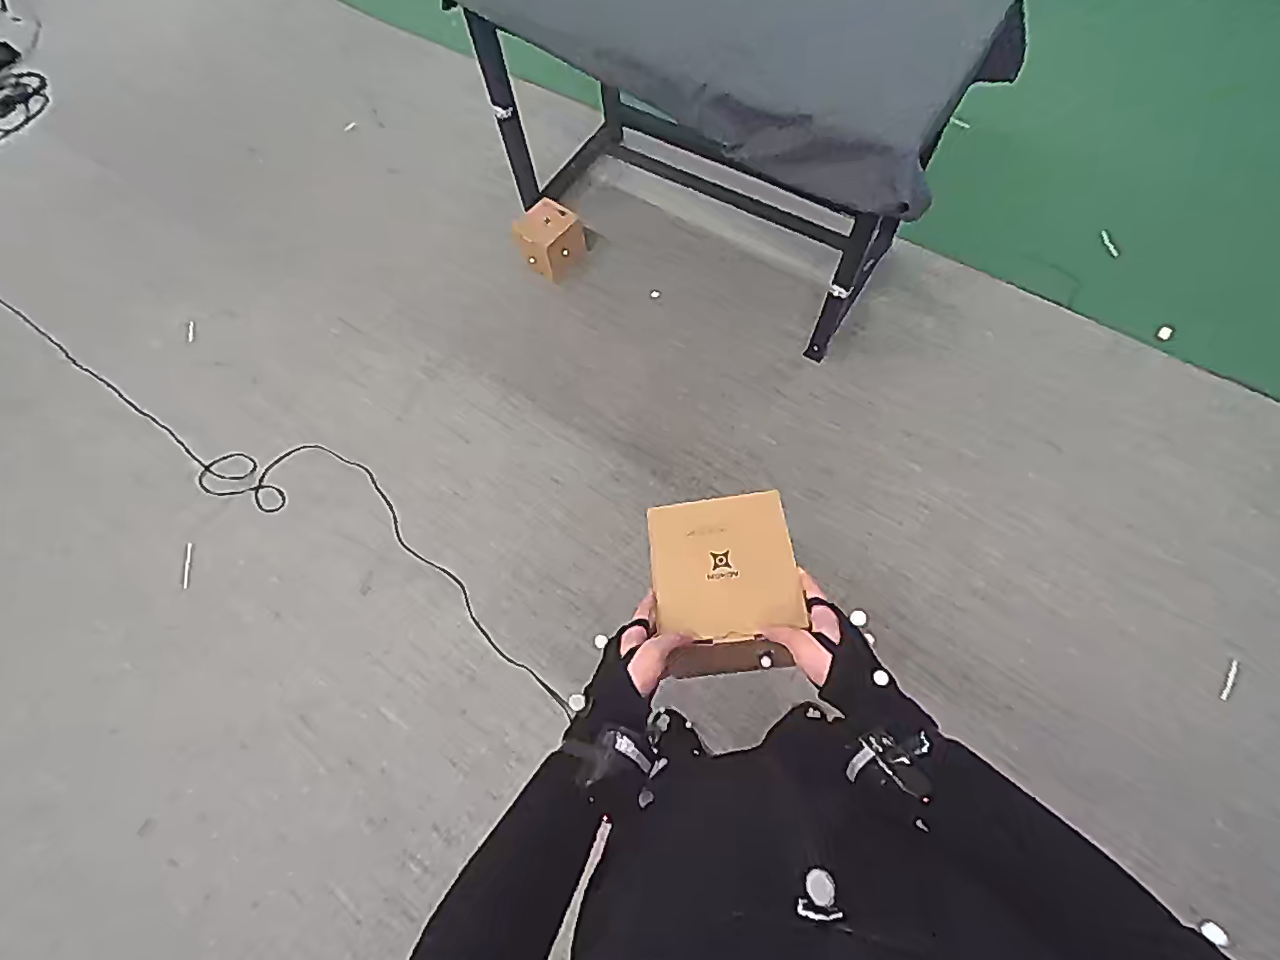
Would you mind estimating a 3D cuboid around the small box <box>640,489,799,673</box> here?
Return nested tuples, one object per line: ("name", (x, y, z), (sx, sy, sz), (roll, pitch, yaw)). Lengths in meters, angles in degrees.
("small box", (0.099, 0.138, 0.690), (0.168, 0.176, 0.179), (-9, 56, 6))
